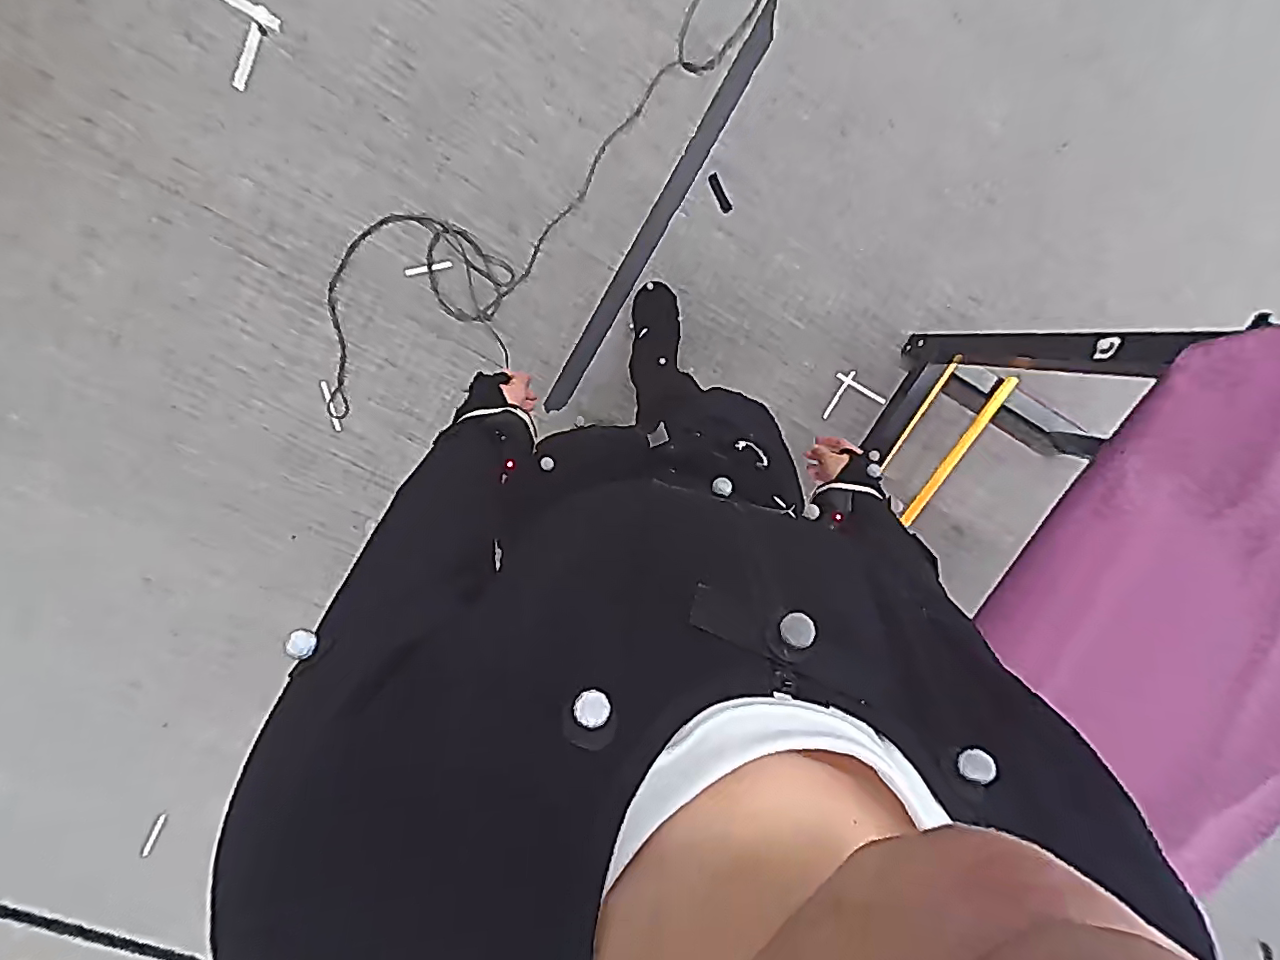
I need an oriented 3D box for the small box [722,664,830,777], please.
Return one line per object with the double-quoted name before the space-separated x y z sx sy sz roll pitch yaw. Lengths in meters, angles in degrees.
"small box" 0.331 0.593 1.357 0.179 0.176 0.168 29 100 -13
